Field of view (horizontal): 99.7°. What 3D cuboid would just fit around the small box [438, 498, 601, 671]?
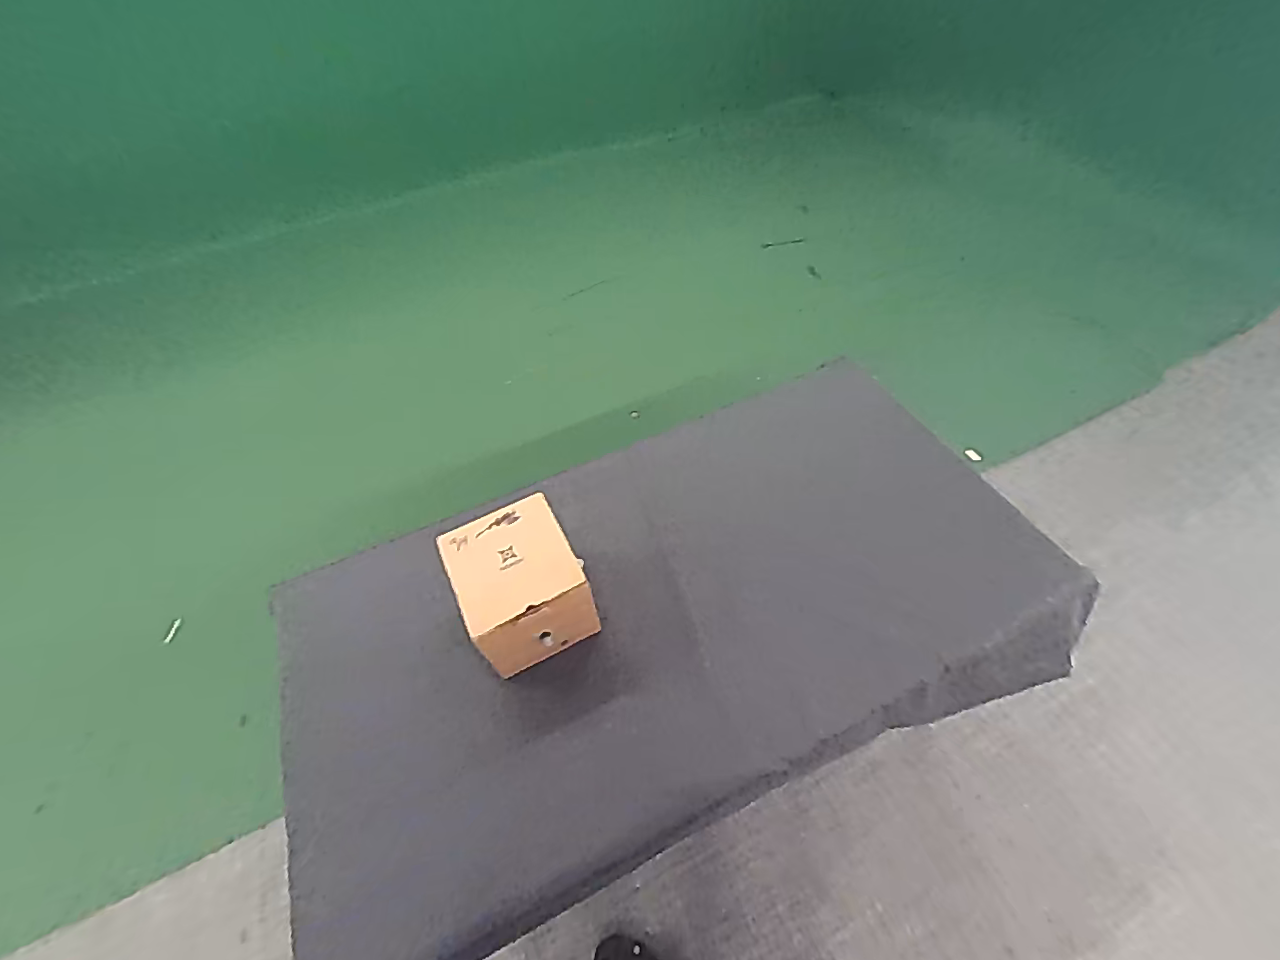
[{"bbox_3d":[-0.174,0.167,0.820,0.168,0.176,0.179,-28,56,-15],"label":"small box"}]
